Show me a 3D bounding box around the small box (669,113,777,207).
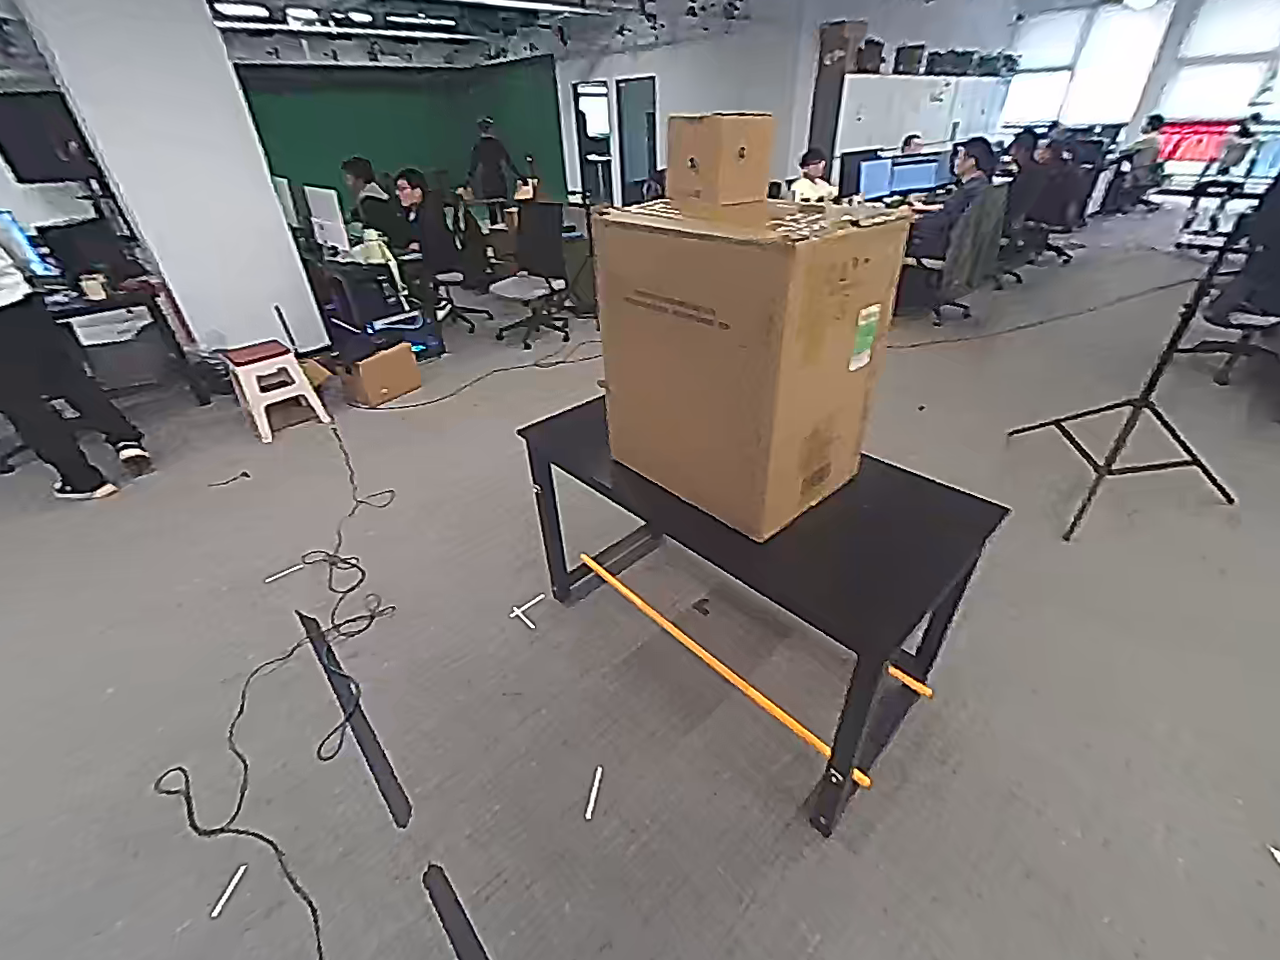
[{"bbox_3d":[0.183,-0.716,1.212,0.179,0.176,0.168,-26,41,-33],"label":"small box"}]
